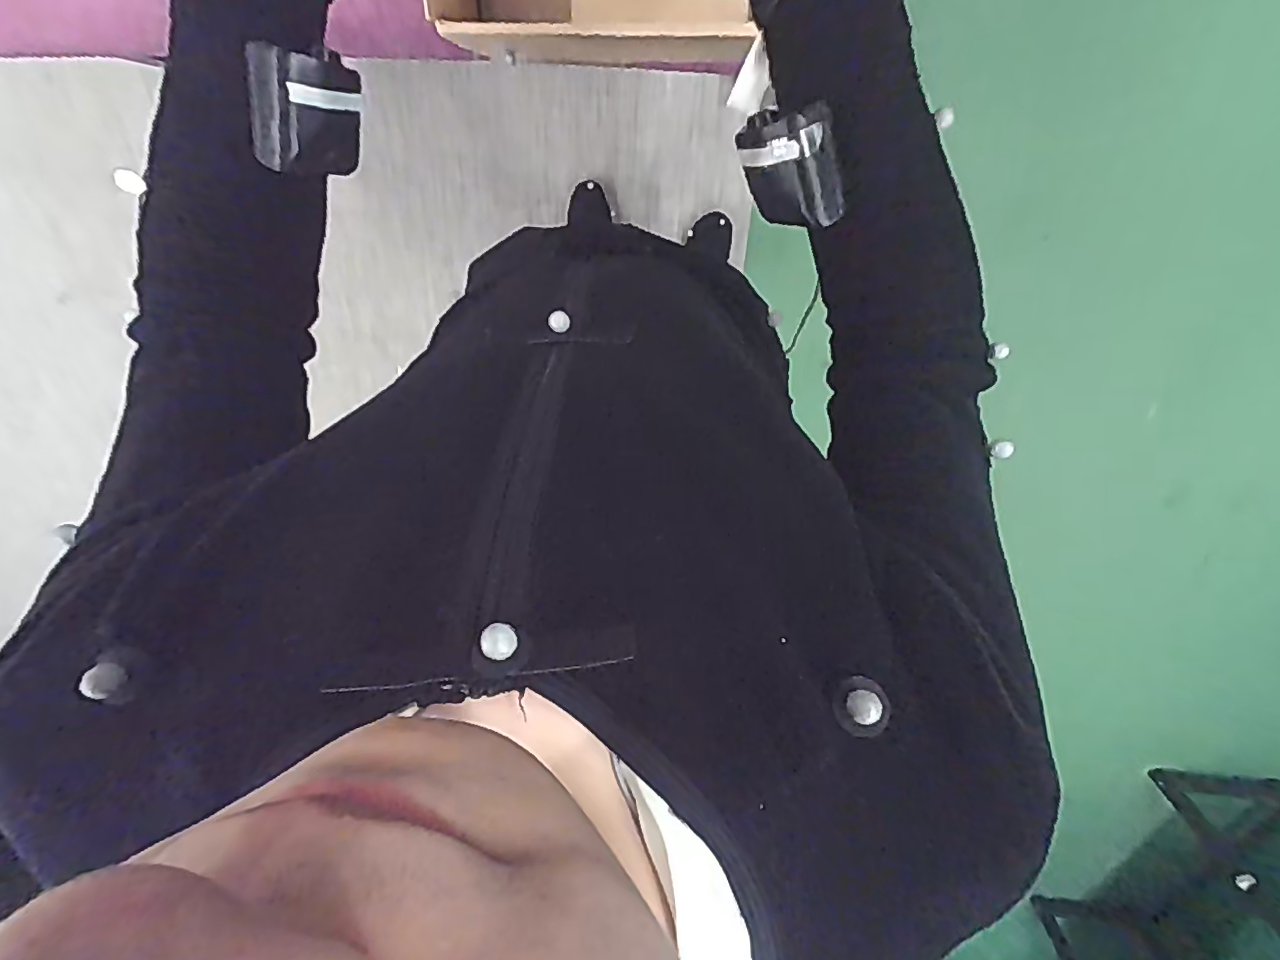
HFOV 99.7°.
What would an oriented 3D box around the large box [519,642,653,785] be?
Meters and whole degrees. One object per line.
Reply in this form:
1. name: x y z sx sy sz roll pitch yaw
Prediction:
1. large box: -0.194 0.902 2.101 0.408 0.320 0.320 -26 115 14
